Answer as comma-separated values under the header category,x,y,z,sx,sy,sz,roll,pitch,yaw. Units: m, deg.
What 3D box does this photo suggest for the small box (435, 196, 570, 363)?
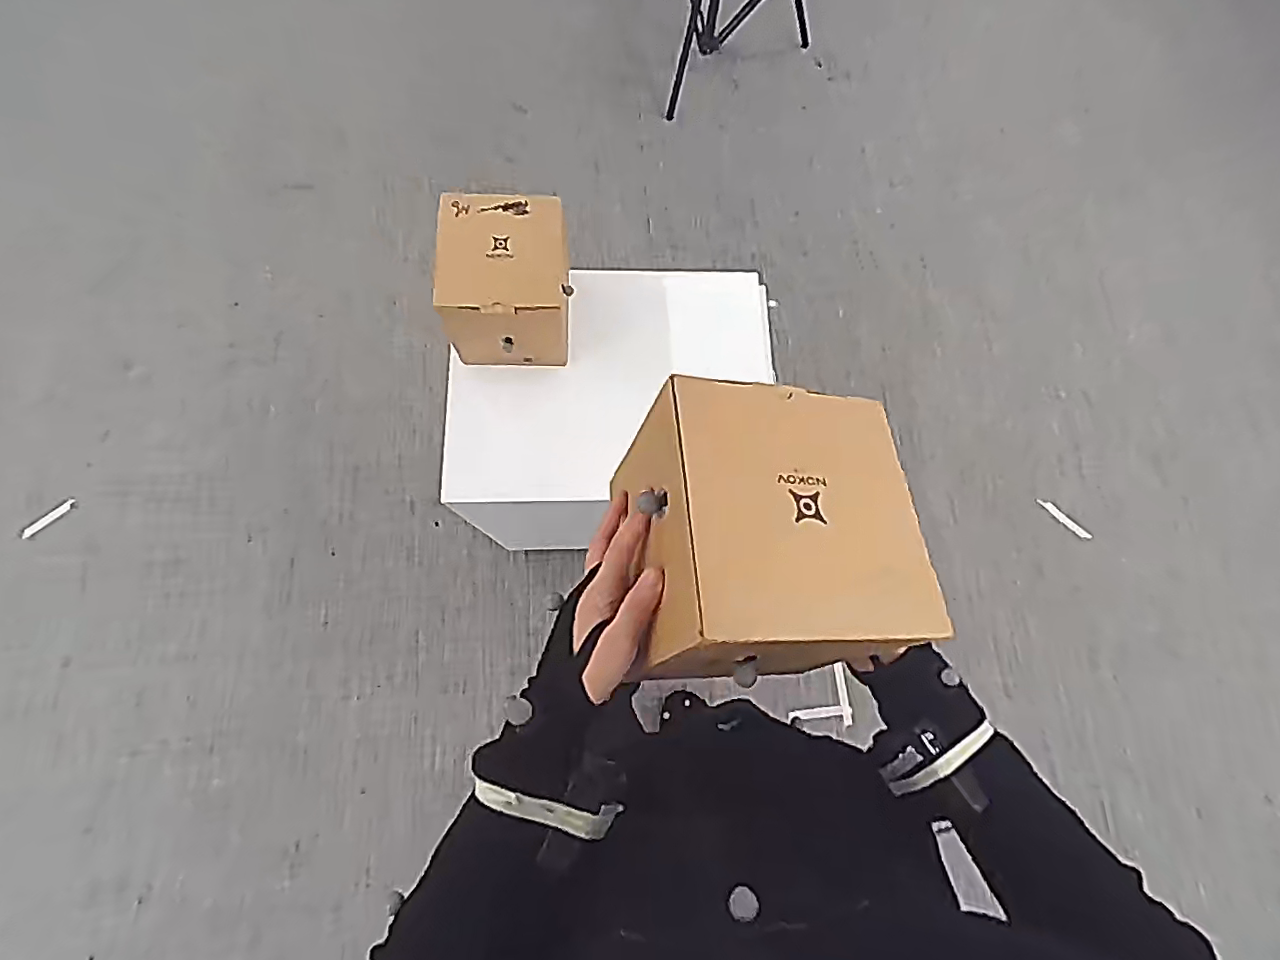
category,x,y,z,sx,sy,sz,roll,pitch,yaw
small box,-0.190,-0.283,0.796,0.168,0.176,0.179,0,77,-5

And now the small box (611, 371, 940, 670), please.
category,x,y,z,sx,sy,sz,roll,pitch,yaw
small box,0.078,0.045,0.411,0.168,0.176,0.179,4,62,-17
